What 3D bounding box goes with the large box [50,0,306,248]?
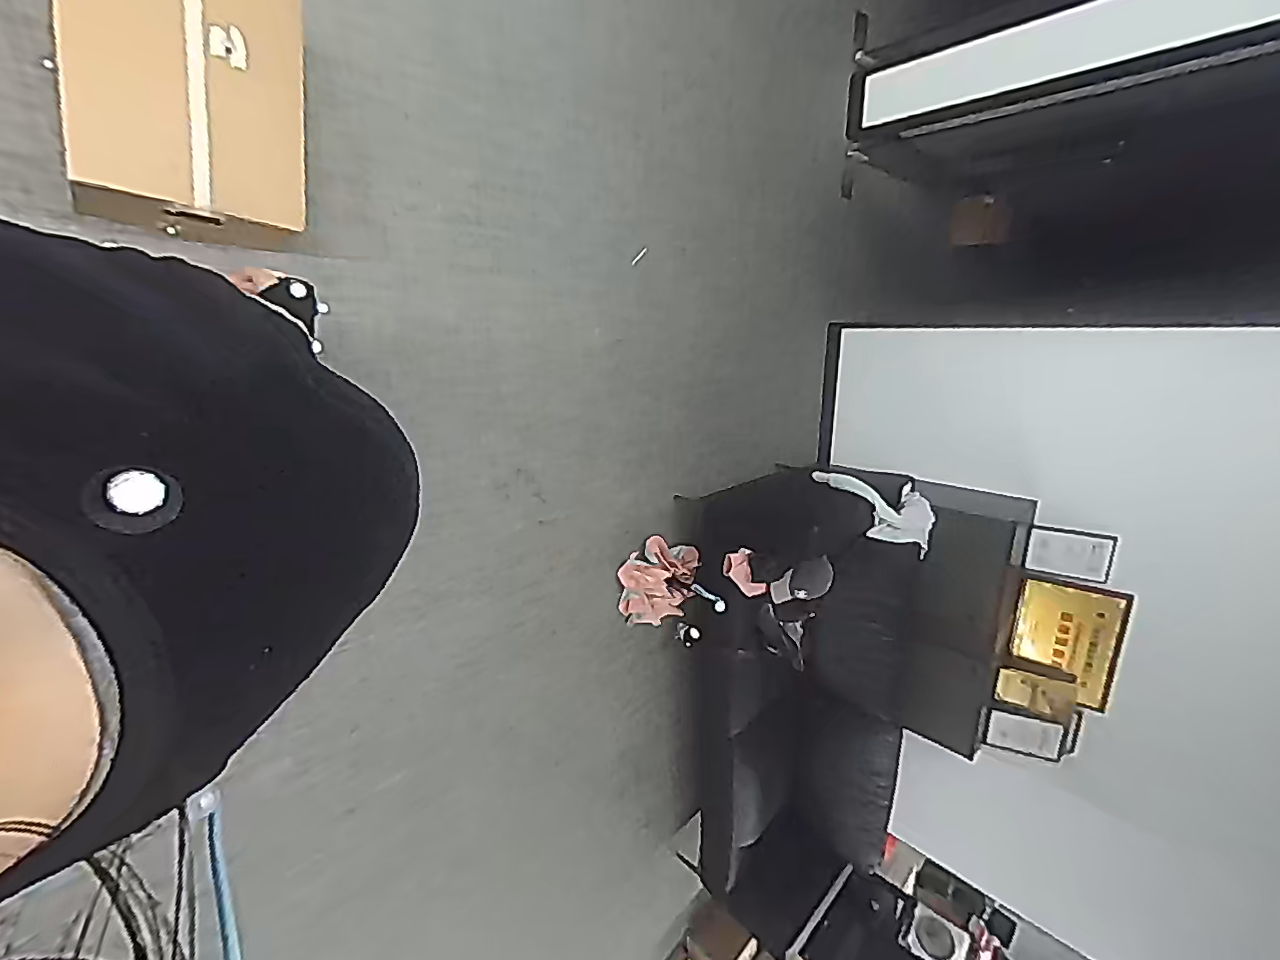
[{"bbox_3d":[-0.831,-0.681,0.986,0.320,0.320,0.408,-5,103,-44],"label":"large box"}]
